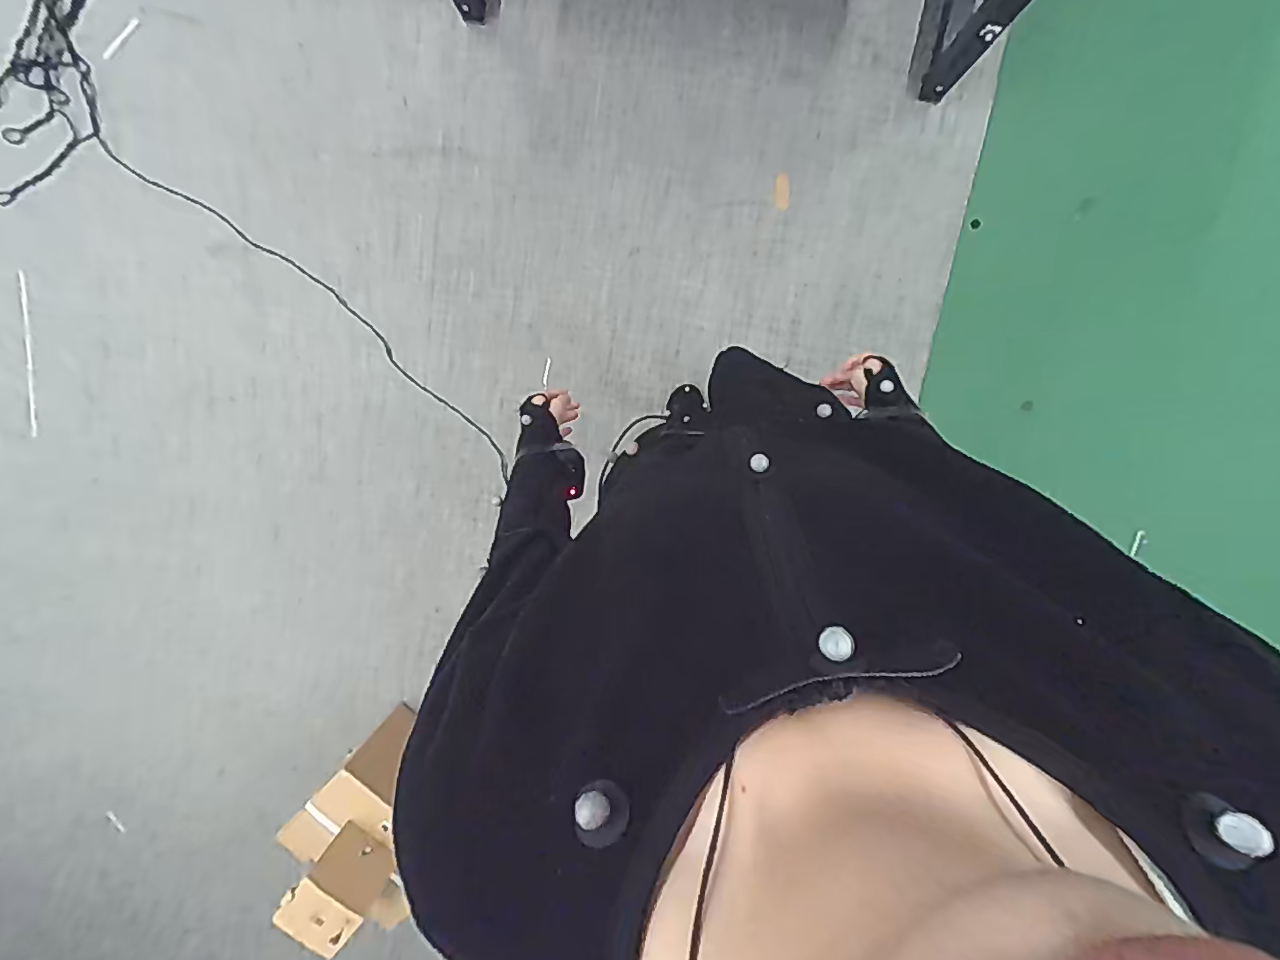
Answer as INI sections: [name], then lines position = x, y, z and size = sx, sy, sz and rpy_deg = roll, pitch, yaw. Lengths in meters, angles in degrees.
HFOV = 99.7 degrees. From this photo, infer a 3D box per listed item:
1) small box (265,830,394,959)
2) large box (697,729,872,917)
[small box]
position = -0.753, 1.010, 1.329
size = 0.179, 0.176, 0.168
rpy_deg = 39, 102, -3
[large box]
position = 0.379, 0.931, 1.500
size = 0.408, 0.320, 0.320
rpy_deg = -5, 101, 3
